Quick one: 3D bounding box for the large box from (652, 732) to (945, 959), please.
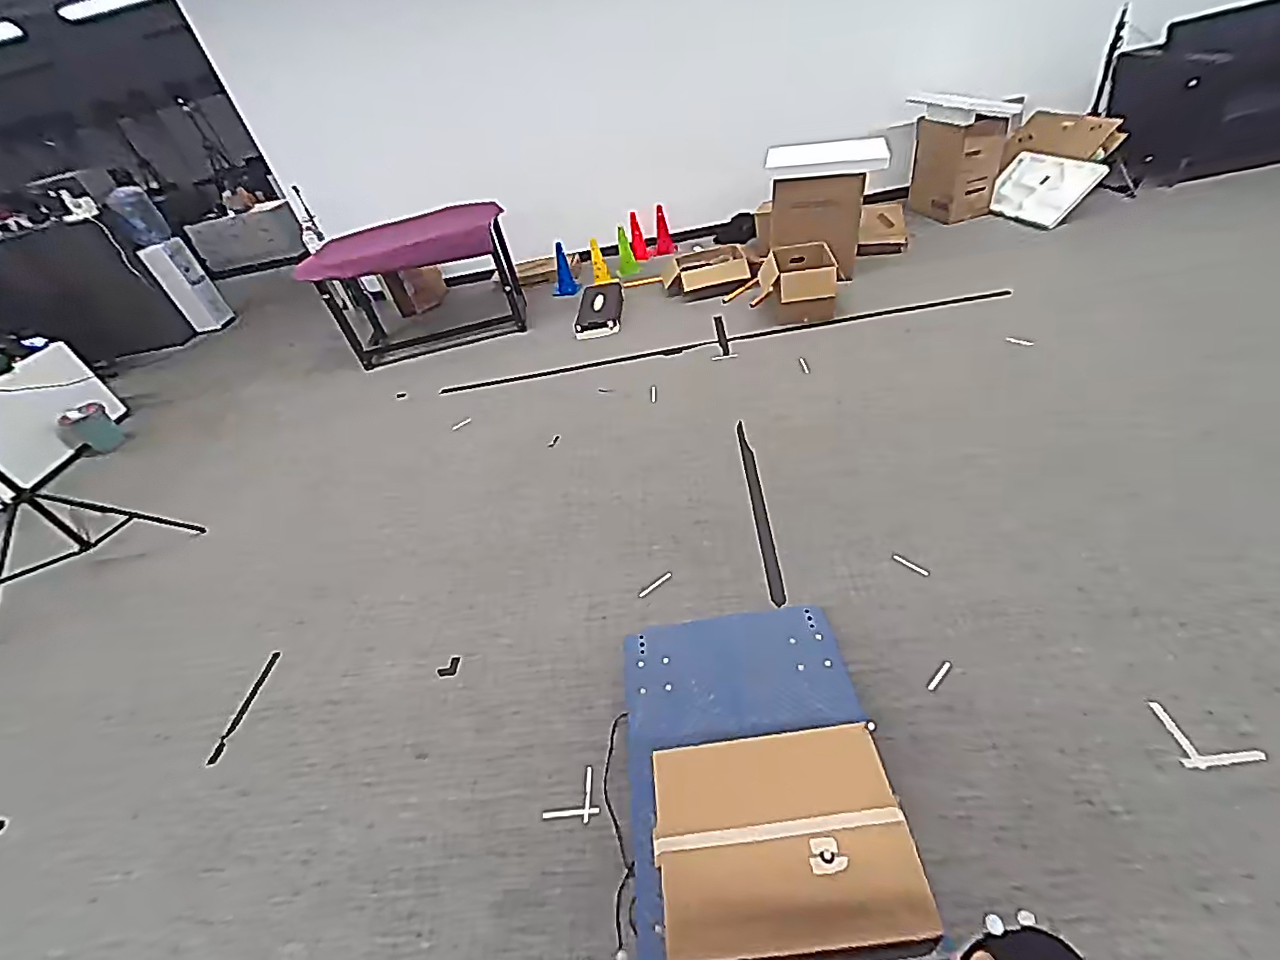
[{"bbox_3d":[0.252,0.706,0.977,0.408,0.320,0.320,-10,40,4],"label":"large box"}]
